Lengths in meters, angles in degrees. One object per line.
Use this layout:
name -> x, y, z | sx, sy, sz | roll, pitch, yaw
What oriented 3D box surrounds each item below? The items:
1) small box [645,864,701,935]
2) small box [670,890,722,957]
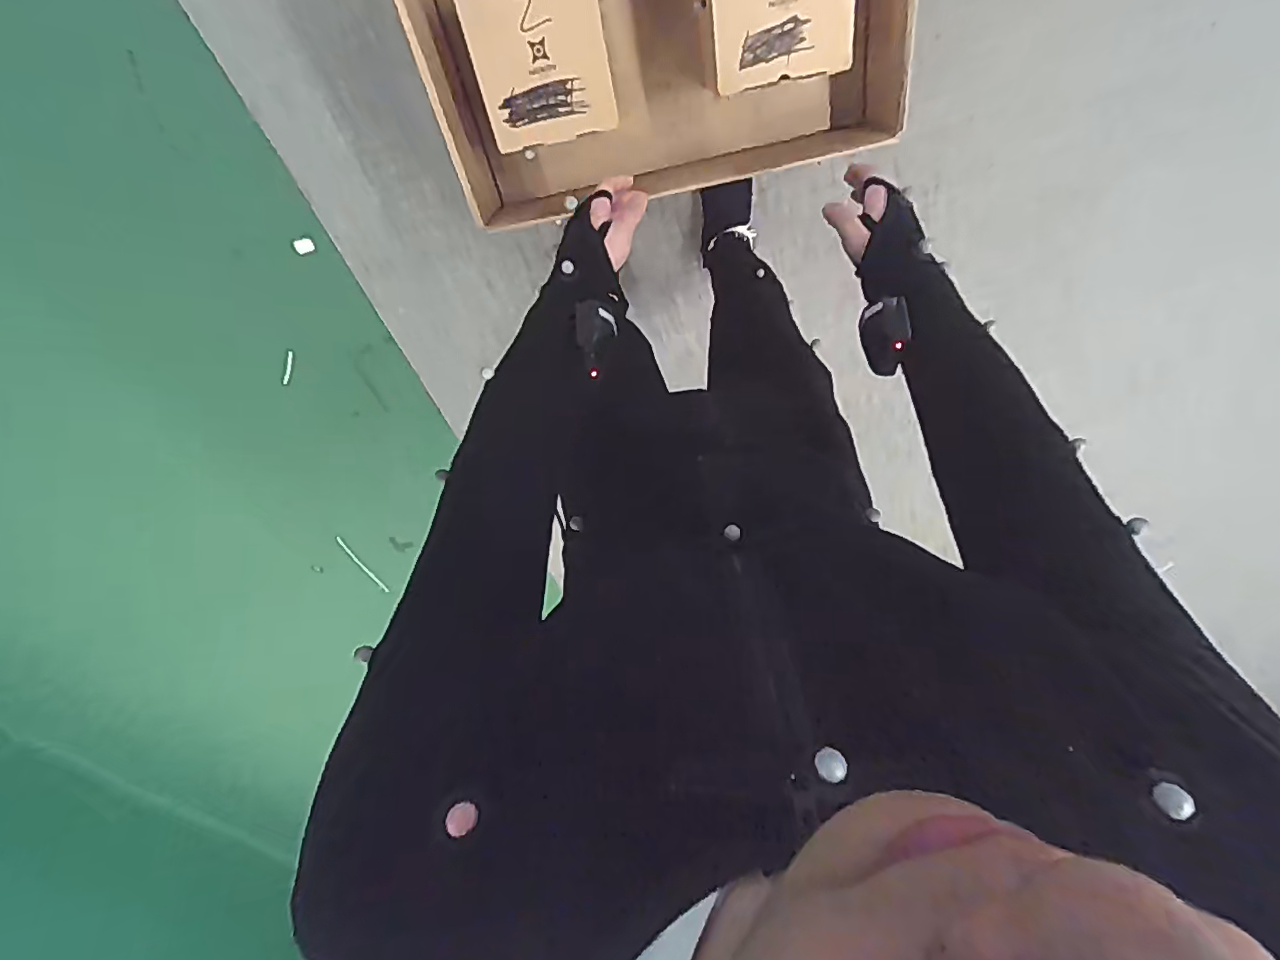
small box -> 0.118, 1.509, 1.948 | 0.168, 0.176, 0.179 | -14, 128, 10
small box -> 0.220, 1.750, 2.135 | 0.168, 0.176, 0.179 | -16, 125, 10
